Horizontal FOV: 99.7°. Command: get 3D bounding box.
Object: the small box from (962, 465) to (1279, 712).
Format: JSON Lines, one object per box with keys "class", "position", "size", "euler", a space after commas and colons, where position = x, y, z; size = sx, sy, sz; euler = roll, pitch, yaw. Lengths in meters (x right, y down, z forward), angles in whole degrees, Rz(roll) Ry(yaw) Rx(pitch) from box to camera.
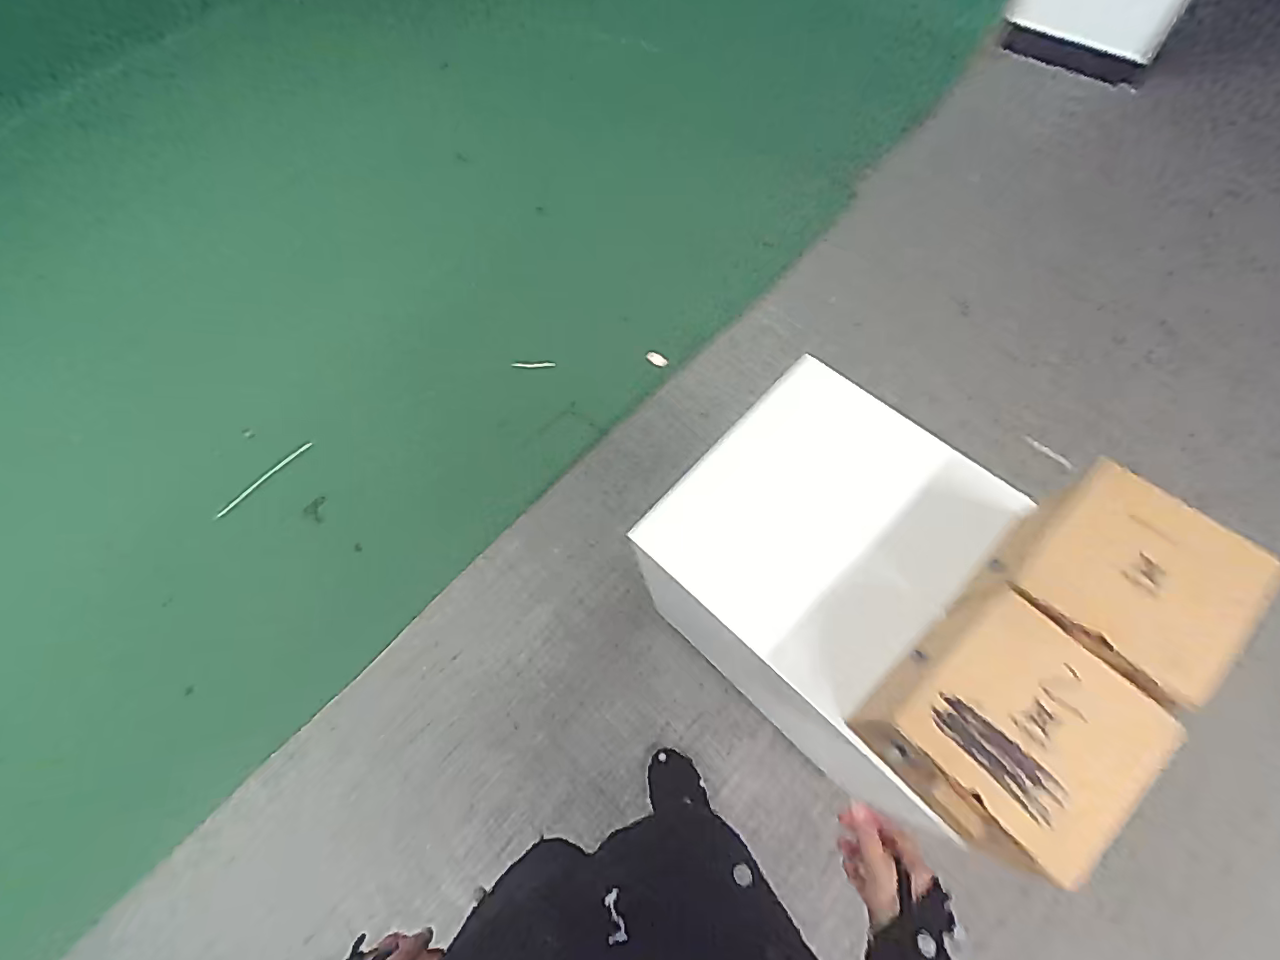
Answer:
{"class": "small box", "position": [0.482, 0.123, 0.574], "size": [0.168, 0.176, 0.179], "euler": [41, 75, 20]}
